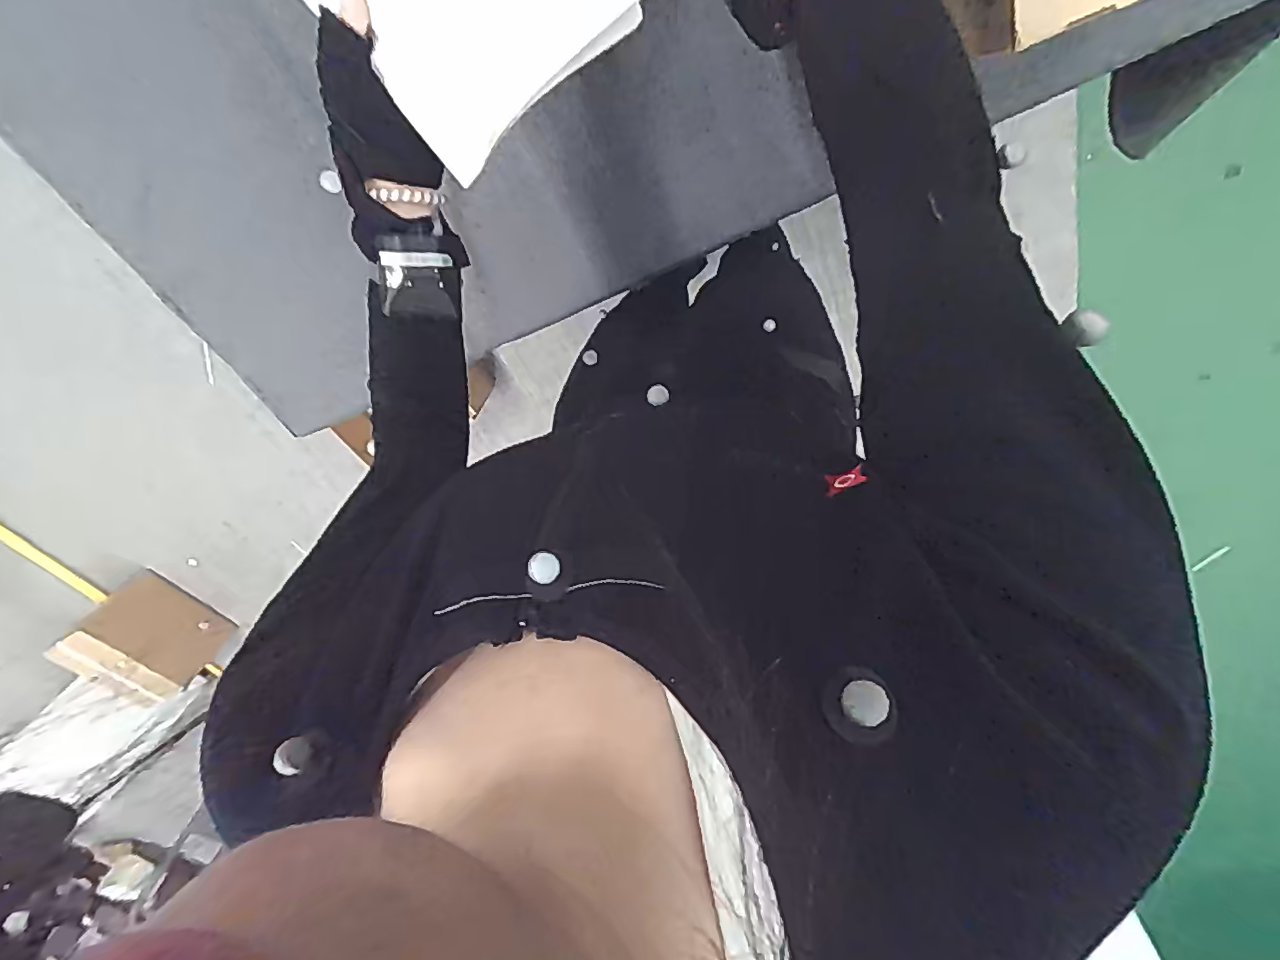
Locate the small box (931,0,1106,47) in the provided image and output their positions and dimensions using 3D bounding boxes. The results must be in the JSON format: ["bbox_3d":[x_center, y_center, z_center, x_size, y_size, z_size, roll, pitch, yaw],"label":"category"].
[{"bbox_3d":[0.305,-0.429,0.359,0.168,0.176,0.179,-16,123,16],"label":"small box"}]
